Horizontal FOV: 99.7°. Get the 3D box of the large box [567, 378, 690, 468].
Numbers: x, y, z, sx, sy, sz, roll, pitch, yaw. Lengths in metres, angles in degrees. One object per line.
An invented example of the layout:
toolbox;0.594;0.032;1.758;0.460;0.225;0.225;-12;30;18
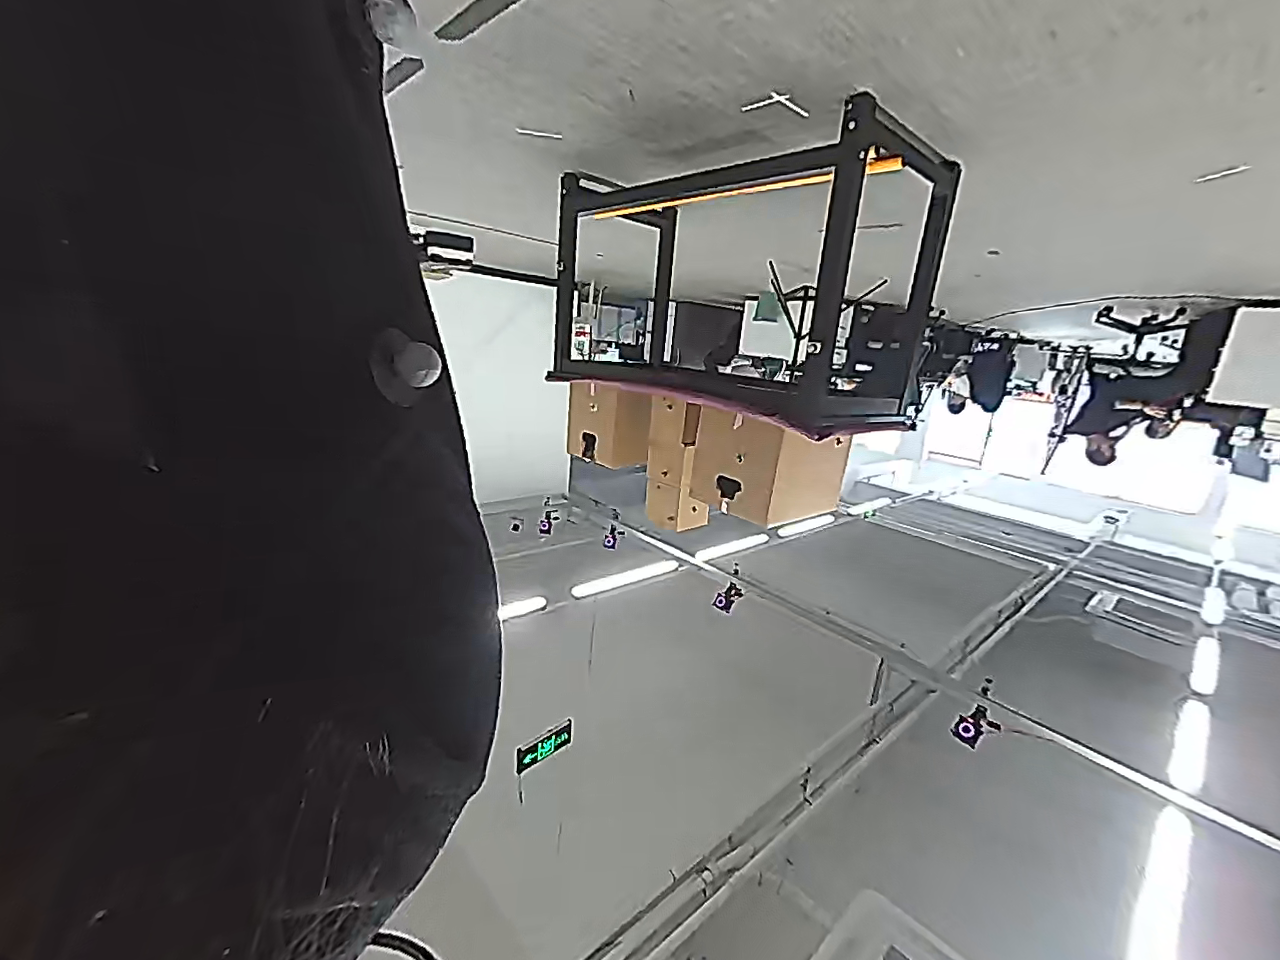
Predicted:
large box;-0.048;-0.249;2.210;0.408;0.320;0.320;-9;-159;-41
